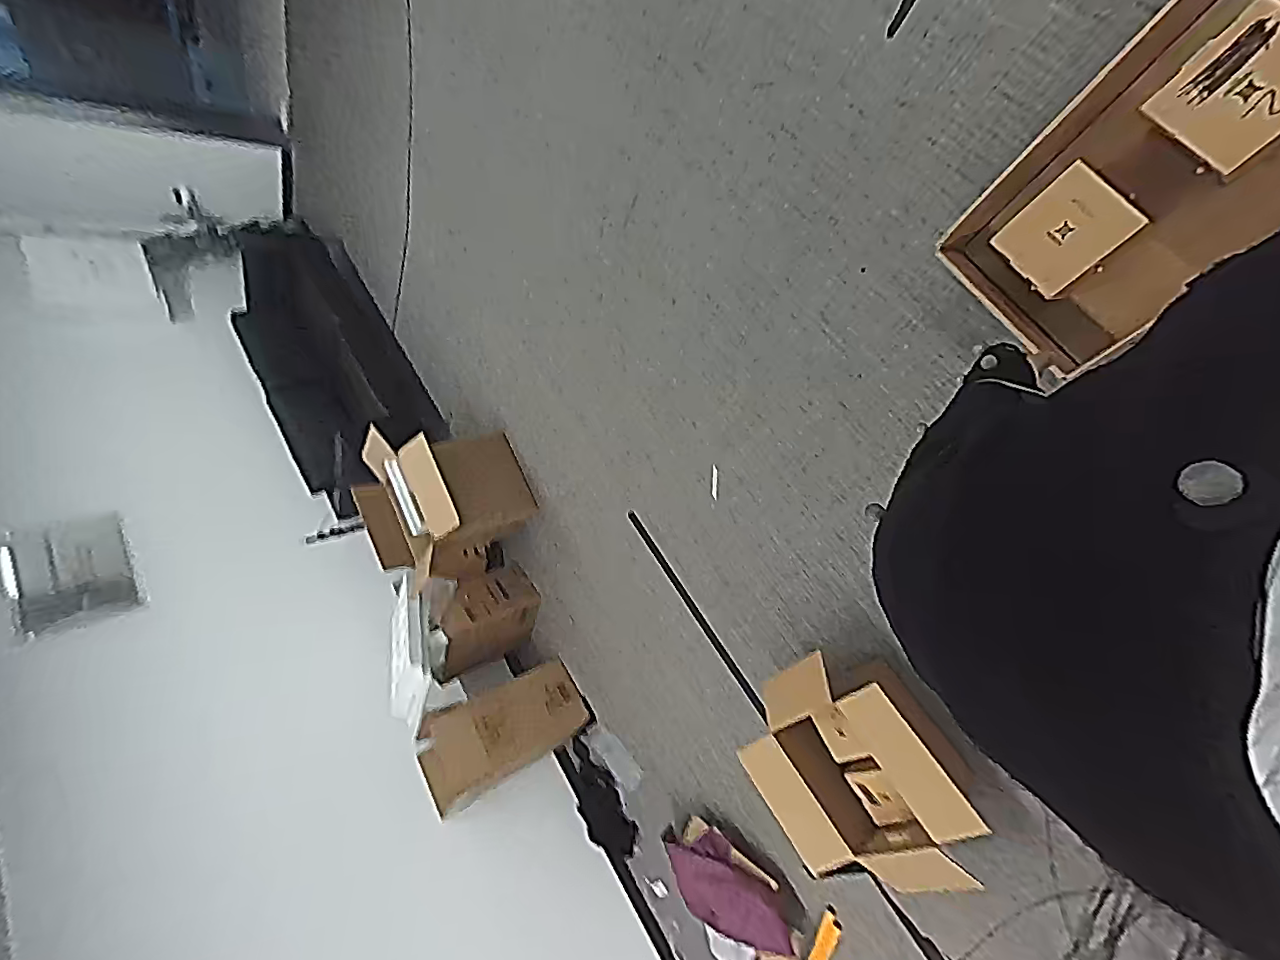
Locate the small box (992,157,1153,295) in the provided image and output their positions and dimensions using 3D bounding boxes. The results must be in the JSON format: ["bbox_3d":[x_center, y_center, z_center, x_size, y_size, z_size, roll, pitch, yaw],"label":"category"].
[{"bbox_3d":[0.838,-0.482,1.047,0.168,0.176,0.179,57,136,15],"label":"small box"}]
